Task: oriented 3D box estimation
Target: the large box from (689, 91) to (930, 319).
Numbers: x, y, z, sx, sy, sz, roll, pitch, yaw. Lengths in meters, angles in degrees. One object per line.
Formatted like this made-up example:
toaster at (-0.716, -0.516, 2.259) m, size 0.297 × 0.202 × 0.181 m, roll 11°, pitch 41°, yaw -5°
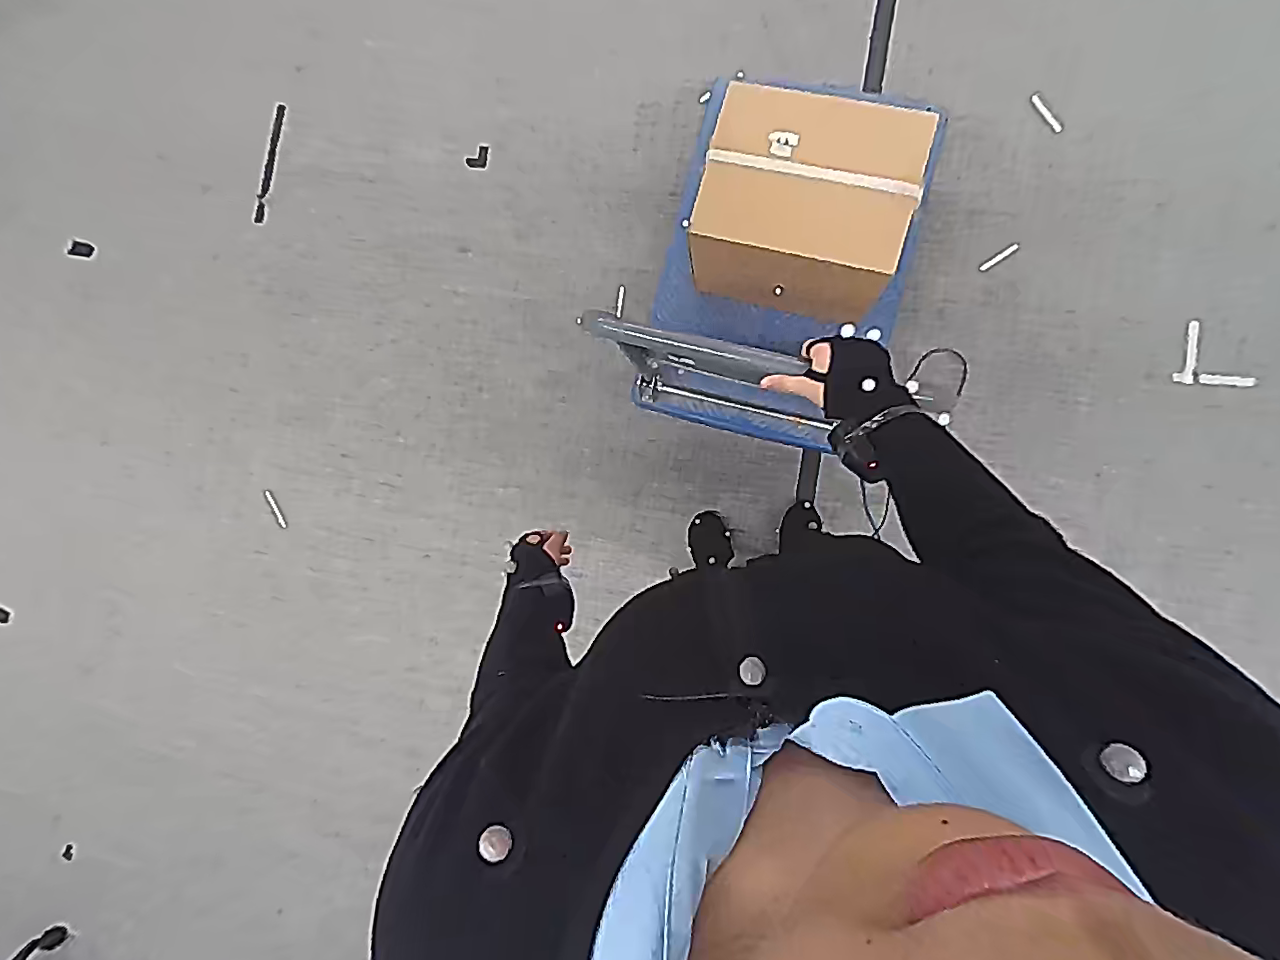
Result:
large box at (0.351, -0.583, 1.198) m, size 0.408 × 0.320 × 0.320 m, roll 15°, pitch 89°, yaw 10°
